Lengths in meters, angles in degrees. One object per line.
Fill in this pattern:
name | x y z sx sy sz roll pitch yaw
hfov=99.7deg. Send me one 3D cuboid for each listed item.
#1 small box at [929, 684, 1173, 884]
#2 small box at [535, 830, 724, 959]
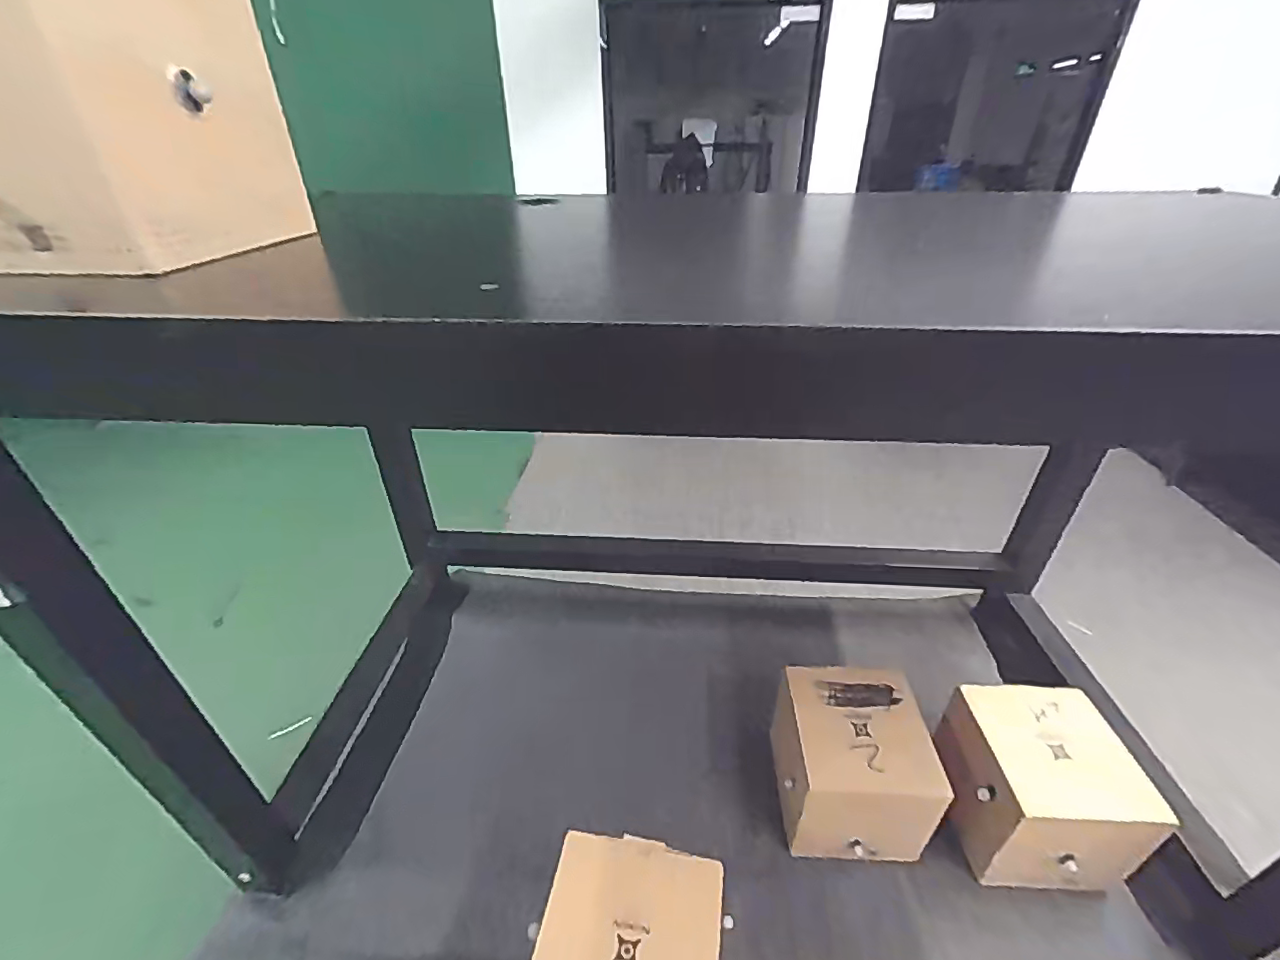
small box | 0.513 0.397 0.710 0.168 0.176 0.179 1 32 3
small box | -0.010 0.491 0.528 0.168 0.176 0.179 6 28 7
